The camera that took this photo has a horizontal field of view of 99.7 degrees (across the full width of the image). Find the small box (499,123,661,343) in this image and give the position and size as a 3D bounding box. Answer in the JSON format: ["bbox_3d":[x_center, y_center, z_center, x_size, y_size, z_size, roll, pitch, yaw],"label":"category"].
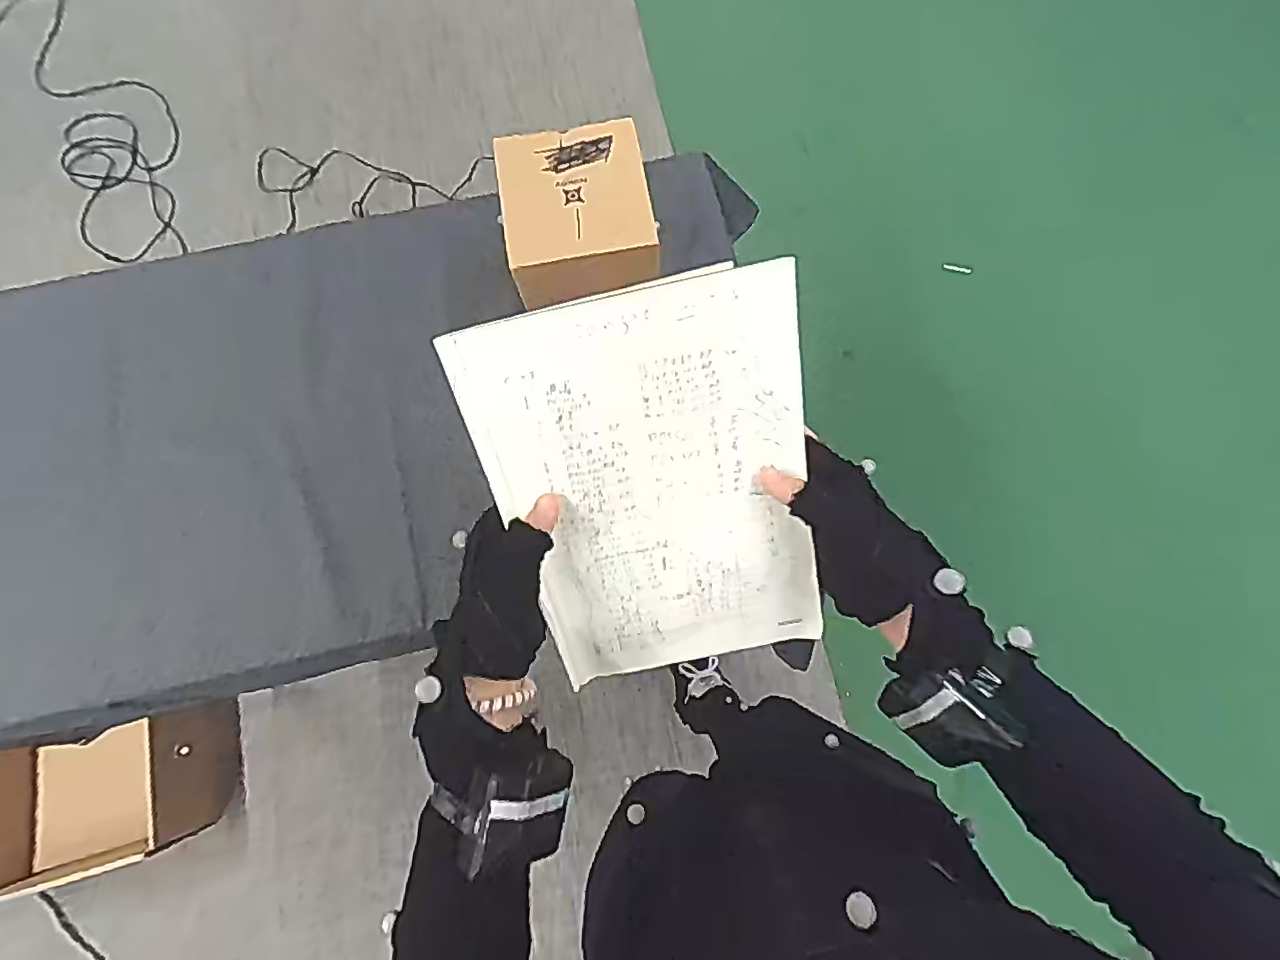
[{"bbox_3d":[-0.069,-0.299,0.680,0.168,0.176,0.179,-10,76,0],"label":"small box"}]
